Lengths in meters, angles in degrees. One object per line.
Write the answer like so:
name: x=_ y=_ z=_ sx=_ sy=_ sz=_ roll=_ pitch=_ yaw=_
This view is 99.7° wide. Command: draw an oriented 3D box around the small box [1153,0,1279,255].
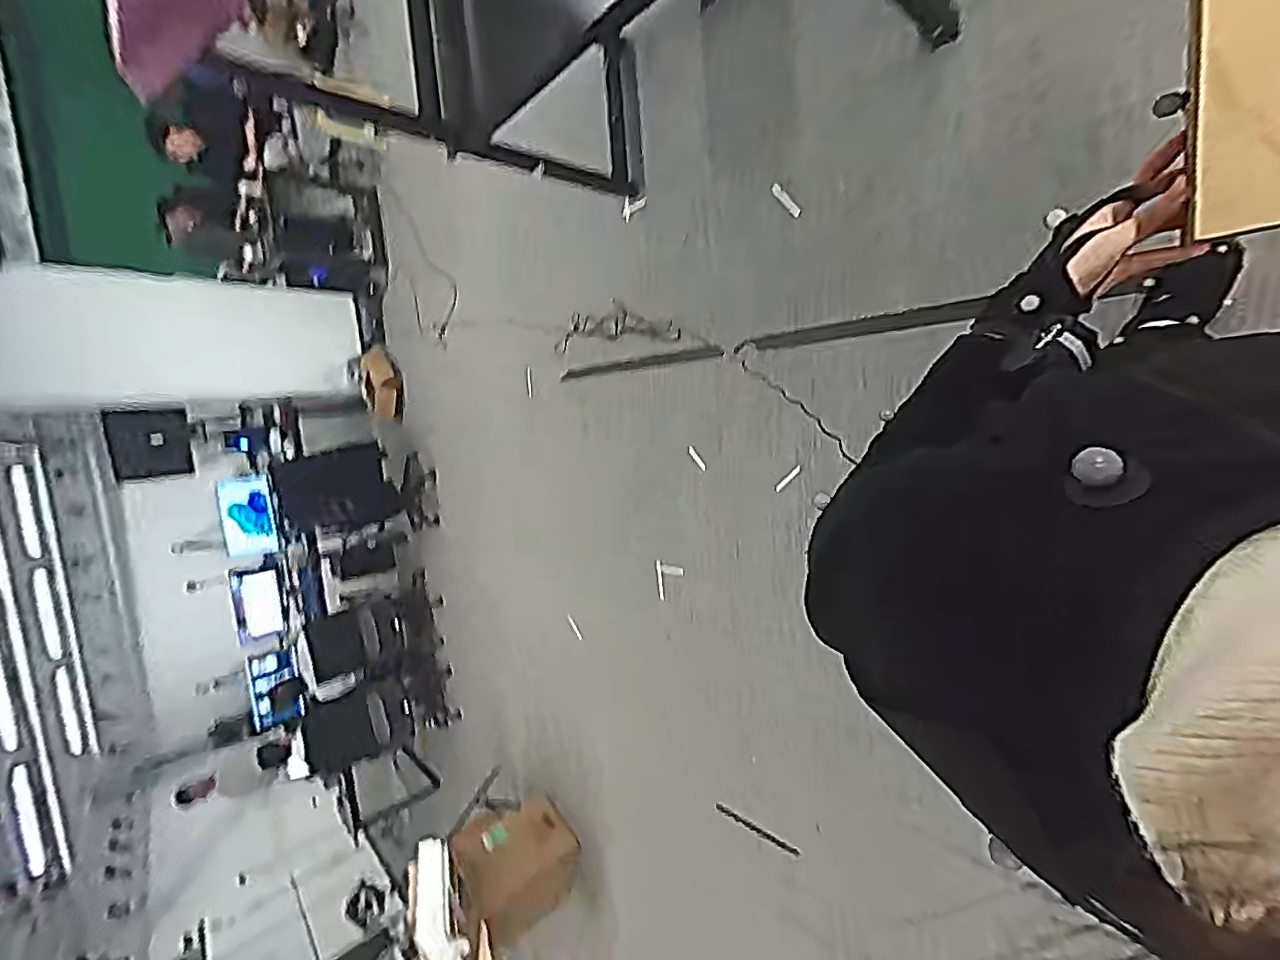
small box: x=0.408 y=-0.232 z=0.298 sx=0.179 sy=0.176 sz=0.168 roll=1 pitch=107 yaw=43
